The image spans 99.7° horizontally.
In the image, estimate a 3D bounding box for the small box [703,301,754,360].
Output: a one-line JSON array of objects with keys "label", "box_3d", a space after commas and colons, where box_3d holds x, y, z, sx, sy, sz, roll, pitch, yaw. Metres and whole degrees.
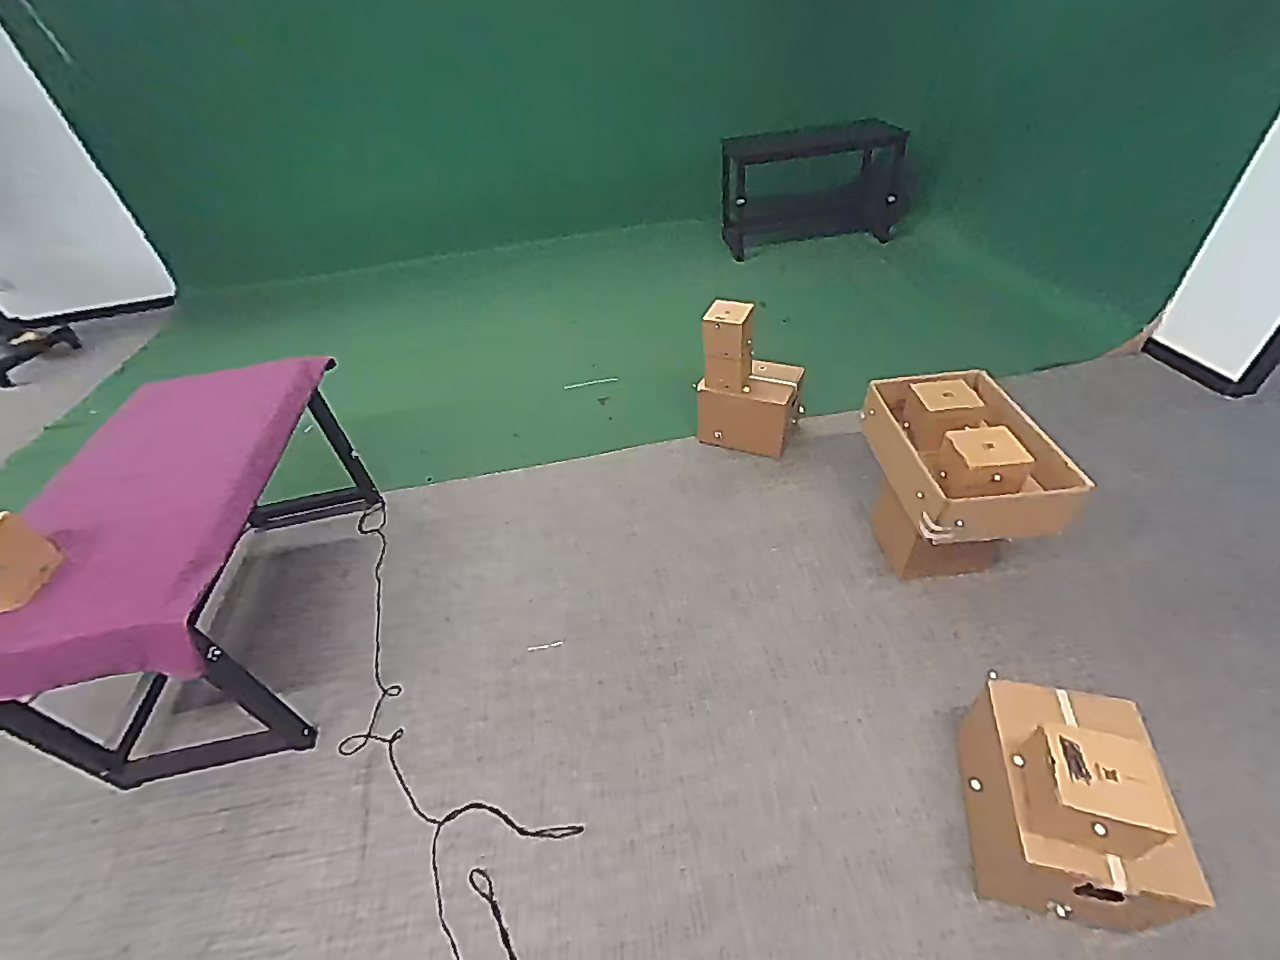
[{"label": "small box", "box_3d": [0.368, -0.625, 2.255, 0.168, 0.176, 0.179, 14, 47, 22]}]

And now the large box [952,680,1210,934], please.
[{"label": "large box", "box_3d": [0.971, 0.754, 1.271, 0.320, 0.320, 0.408, 6, 43, 14]}]

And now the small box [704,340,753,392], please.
[{"label": "small box", "box_3d": [0.388, -0.512, 2.373, 0.168, 0.176, 0.179, 14, 48, 22]}]

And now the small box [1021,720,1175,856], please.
[{"label": "small box", "box_3d": [0.886, 0.611, 1.072, 0.179, 0.176, 0.168, 8, 44, 18]}]

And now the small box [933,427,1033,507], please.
[{"label": "small box", "box_3d": [1.010, -0.037, 1.610, 0.179, 0.176, 0.168, -6, 42, 4]}]
